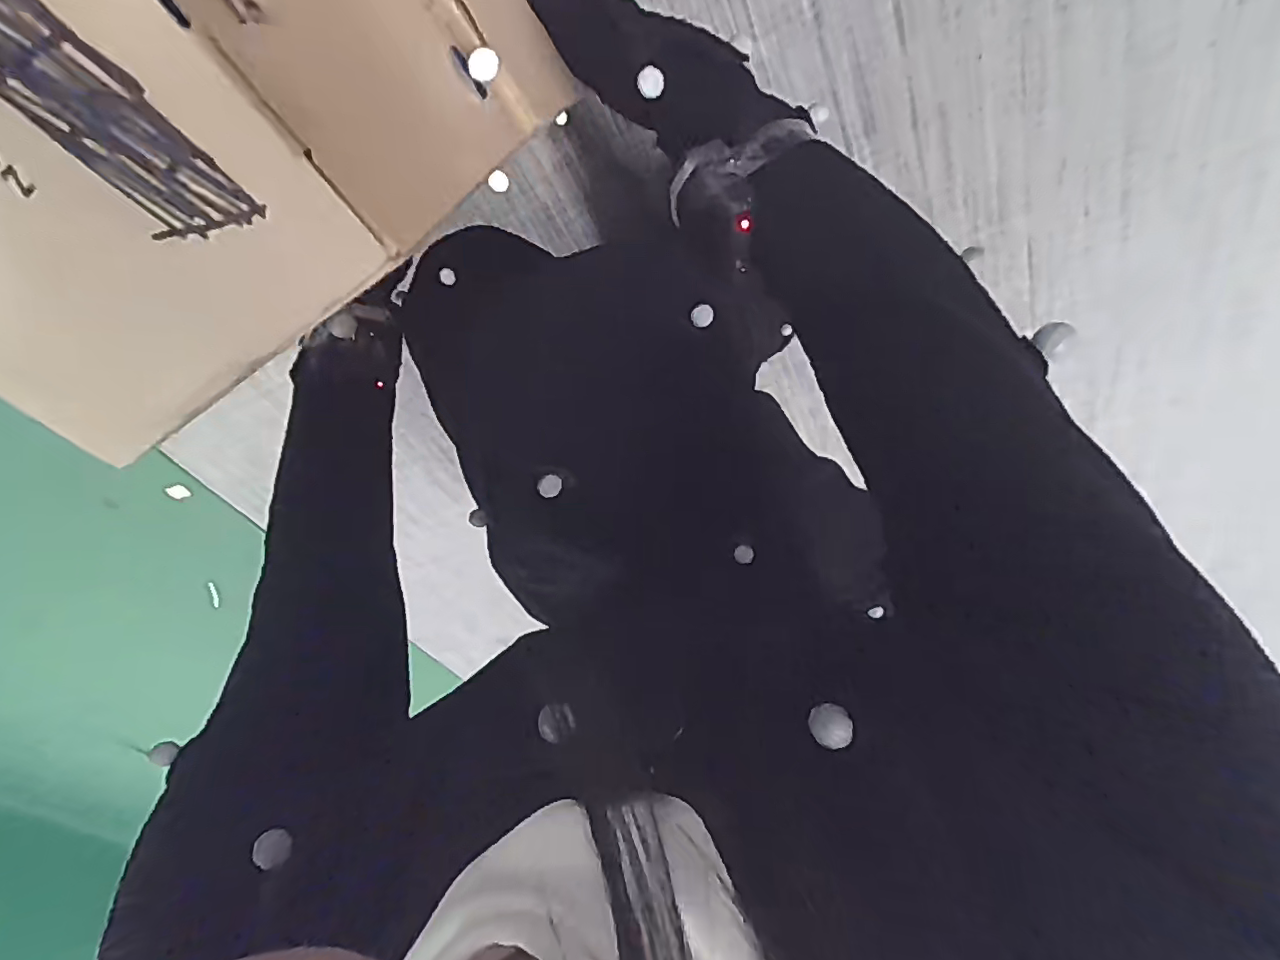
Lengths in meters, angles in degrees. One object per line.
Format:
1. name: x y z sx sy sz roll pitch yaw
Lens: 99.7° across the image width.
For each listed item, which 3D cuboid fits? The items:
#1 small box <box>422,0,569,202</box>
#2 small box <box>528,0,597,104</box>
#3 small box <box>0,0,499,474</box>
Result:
1. small box: -0.159 -0.251 0.327 0.179 0.176 0.168 -22 125 24
2. small box: -0.150 -0.364 0.446 0.179 0.176 0.168 -21 126 26
3. small box: -0.176 -0.139 0.208 0.179 0.176 0.168 -25 126 25
